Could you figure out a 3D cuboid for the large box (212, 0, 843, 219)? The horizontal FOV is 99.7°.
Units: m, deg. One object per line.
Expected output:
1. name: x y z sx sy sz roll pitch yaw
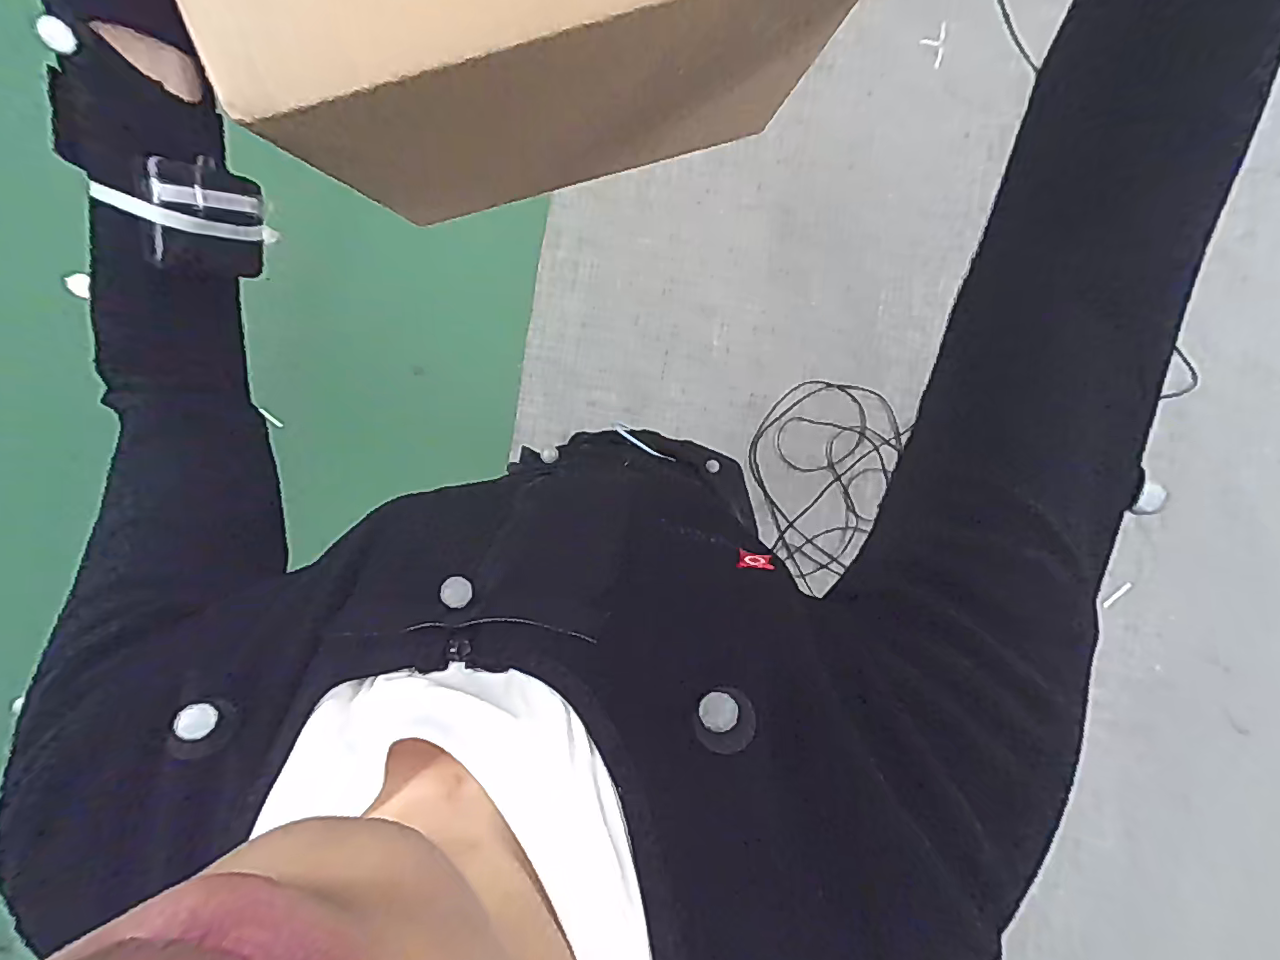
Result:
1. large box: -0.085 -0.447 0.423 0.408 0.320 0.320 -15 105 0
